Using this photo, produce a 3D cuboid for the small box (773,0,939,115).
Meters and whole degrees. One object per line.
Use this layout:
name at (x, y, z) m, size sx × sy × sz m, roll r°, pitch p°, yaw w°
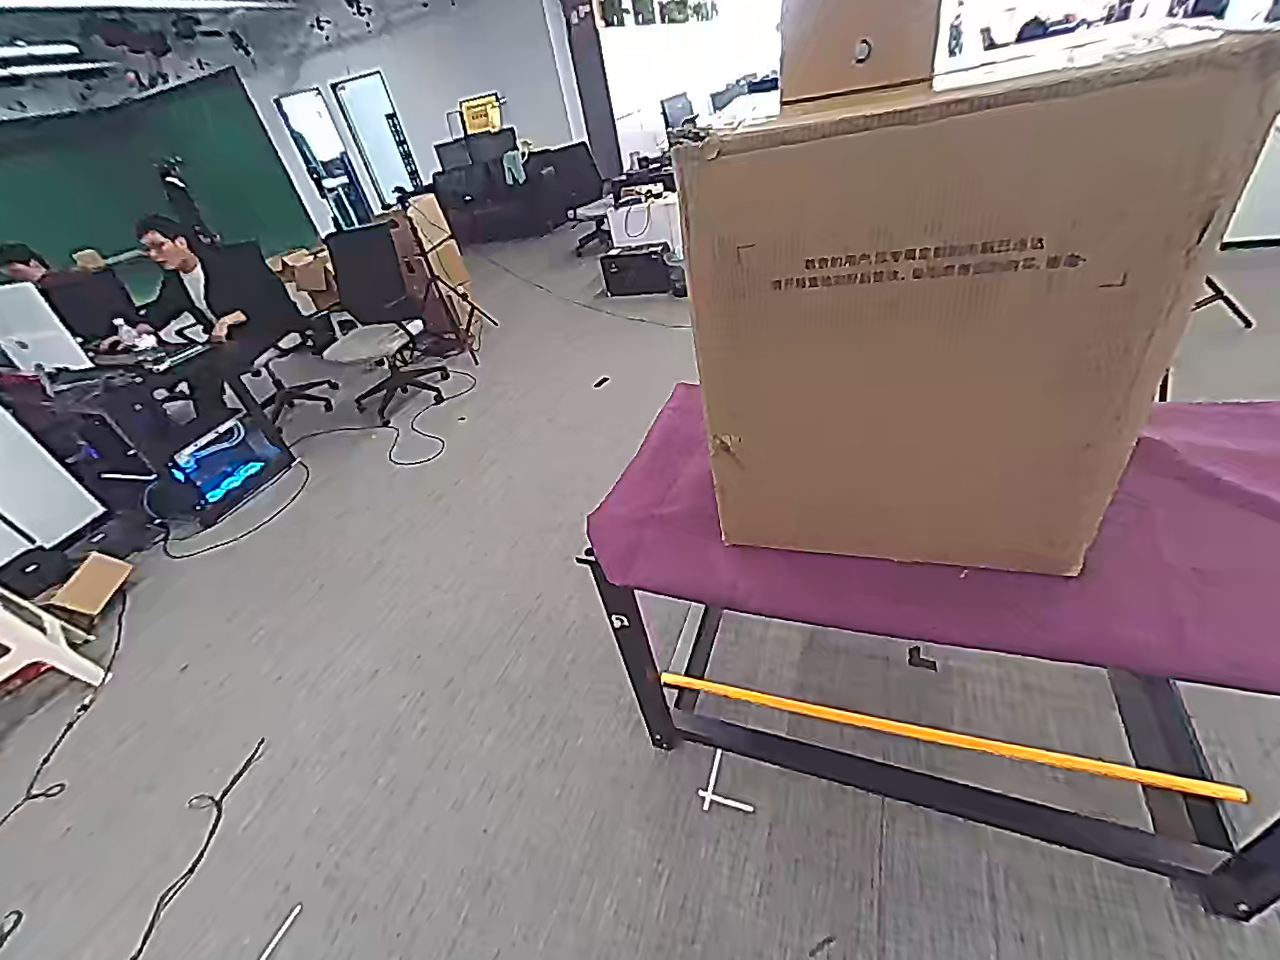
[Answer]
small box at (0.262, -0.564, 0.654) m, size 0.179 × 0.176 × 0.168 m, roll 6°, pitch 41°, yaw 23°
